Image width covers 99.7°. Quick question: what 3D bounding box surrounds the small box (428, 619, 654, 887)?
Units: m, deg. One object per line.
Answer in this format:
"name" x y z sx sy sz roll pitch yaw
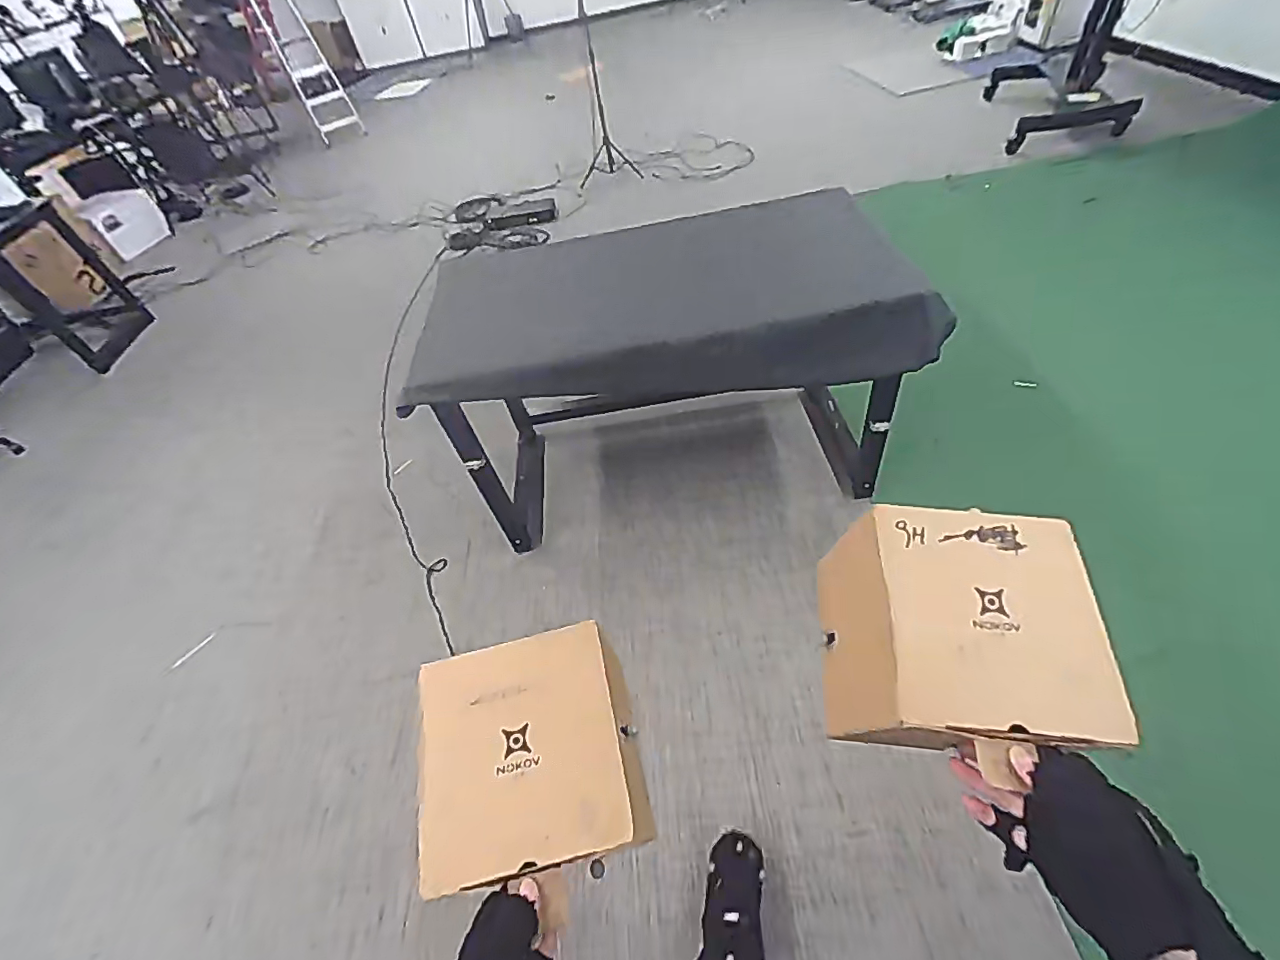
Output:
"small box" -0.088 0.260 0.524 0.168 0.176 0.179 -15 57 -2

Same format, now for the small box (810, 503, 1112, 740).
"small box" 0.265 0.138 0.499 0.168 0.176 0.179 4 63 1
